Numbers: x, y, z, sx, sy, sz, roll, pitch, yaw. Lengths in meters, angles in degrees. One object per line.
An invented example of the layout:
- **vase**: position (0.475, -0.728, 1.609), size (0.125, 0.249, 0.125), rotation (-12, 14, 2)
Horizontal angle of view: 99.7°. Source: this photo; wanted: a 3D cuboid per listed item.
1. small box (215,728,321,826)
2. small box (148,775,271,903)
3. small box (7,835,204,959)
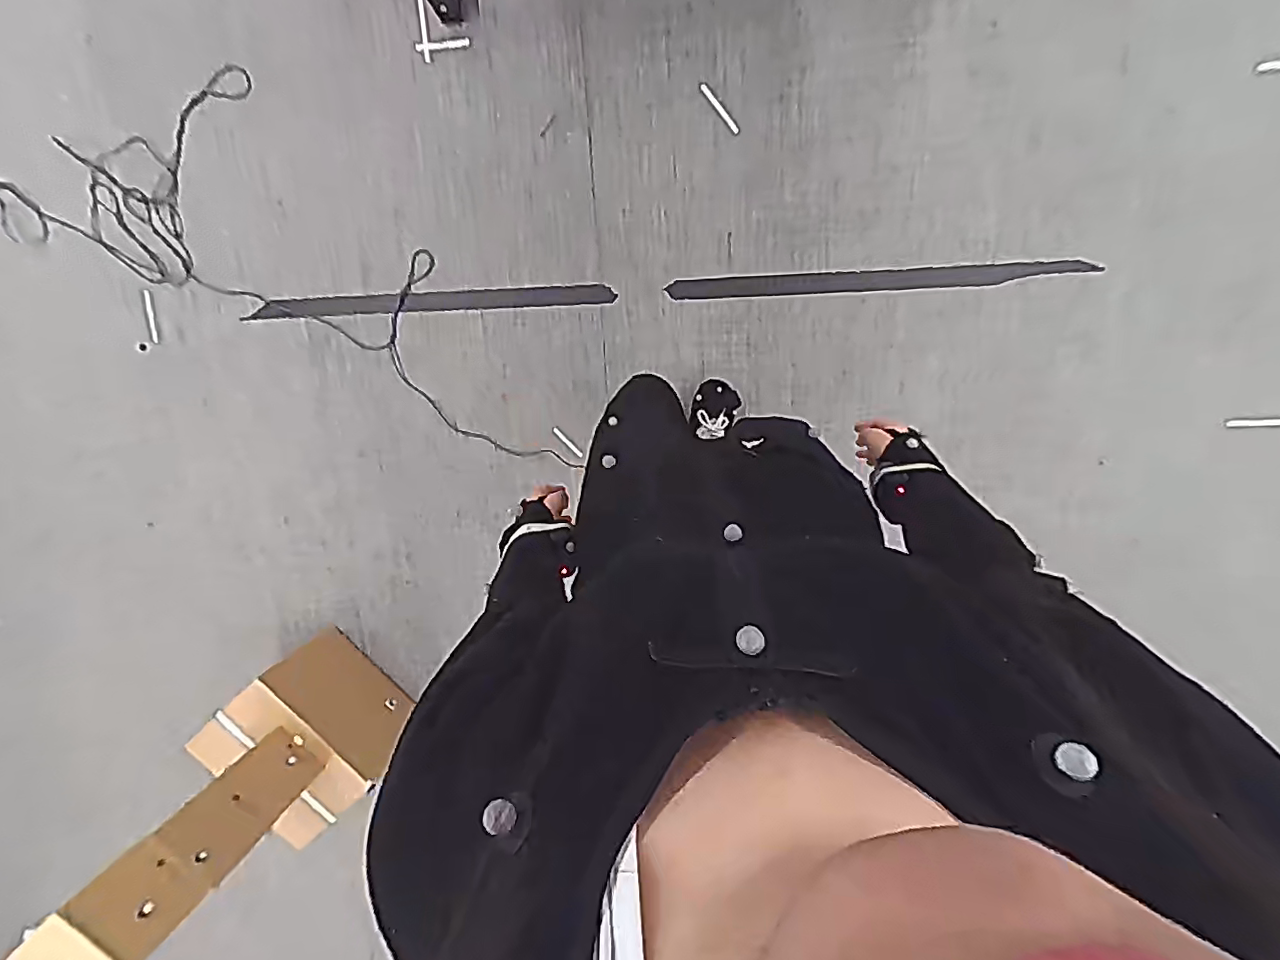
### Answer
- **small box**: position (-0.923, 0.746, 1.303), size (0.179, 0.176, 0.168), rotation (-43, 94, 10)
- **small box**: position (-0.939, 0.777, 1.143), size (0.179, 0.176, 0.168), rotation (-43, 95, 11)
- **small box**: position (-0.953, 0.802, 0.982), size (0.179, 0.176, 0.168), rotation (-43, 94, 11)
